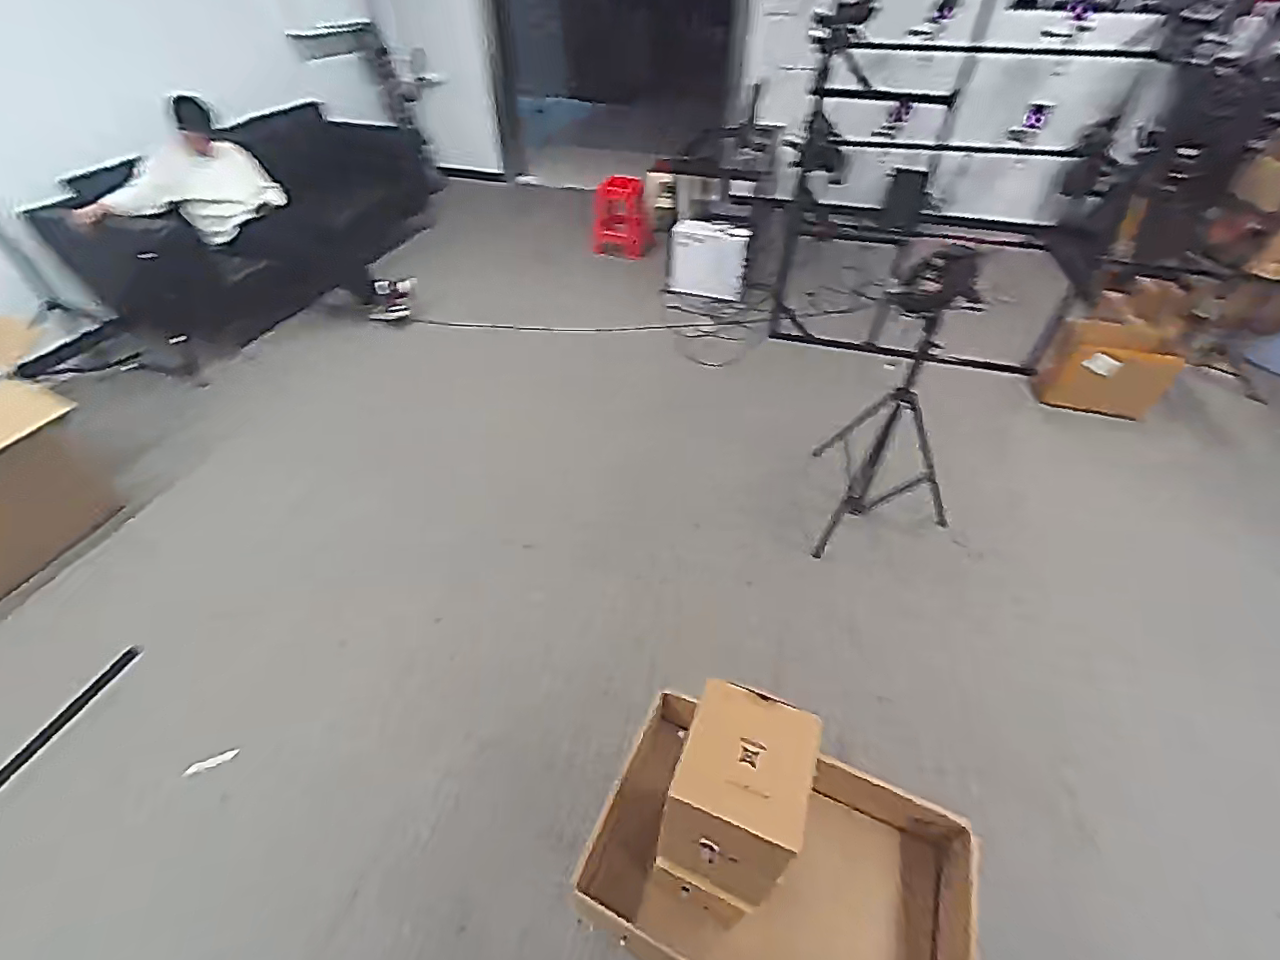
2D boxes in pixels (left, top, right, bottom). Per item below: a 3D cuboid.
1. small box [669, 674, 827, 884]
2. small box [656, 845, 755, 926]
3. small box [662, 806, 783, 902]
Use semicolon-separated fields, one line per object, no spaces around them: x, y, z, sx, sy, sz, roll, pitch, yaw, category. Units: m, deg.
0.144;0.413;0.751;0.168;0.176;0.179;17;45;16;small box
0.135;0.656;0.972;0.168;0.176;0.179;19;46;16;small box
0.145;0.533;0.863;0.179;0.176;0.168;20;46;17;small box
